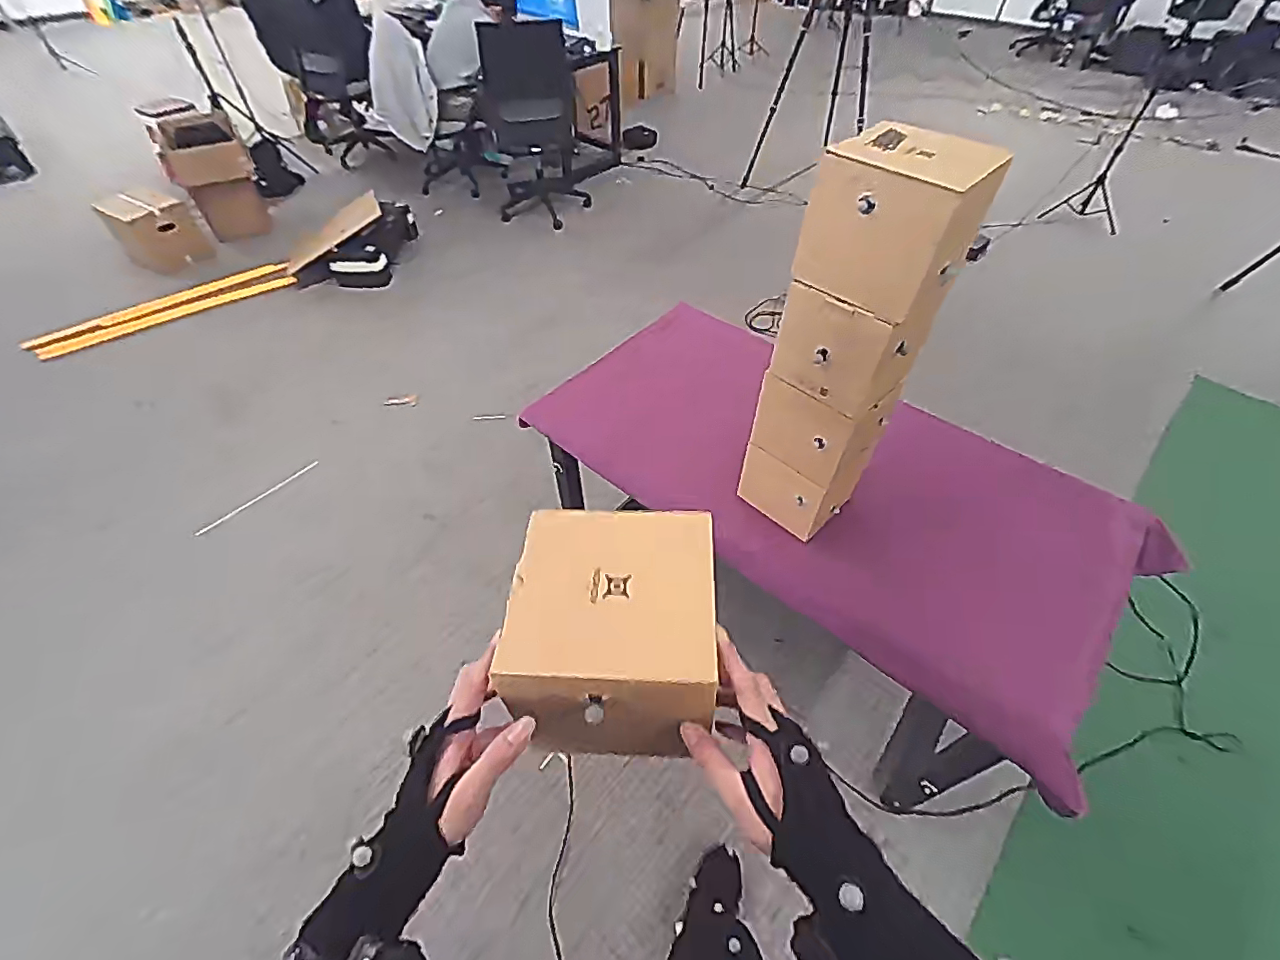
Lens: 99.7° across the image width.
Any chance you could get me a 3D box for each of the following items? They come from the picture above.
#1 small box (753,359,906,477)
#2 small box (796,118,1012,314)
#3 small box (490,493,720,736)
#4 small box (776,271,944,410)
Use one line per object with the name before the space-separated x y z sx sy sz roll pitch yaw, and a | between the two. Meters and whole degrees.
small box | 0.326 -0.130 0.960 0.168 0.176 0.179 -37 59 -27
small box | 0.333 -0.347 0.714 0.179 0.176 0.168 36 58 26
small box | -0.017 0.129 0.515 0.179 0.176 0.168 -1 46 6
small box | 0.331 -0.239 0.838 0.179 0.176 0.168 -37 60 -27
